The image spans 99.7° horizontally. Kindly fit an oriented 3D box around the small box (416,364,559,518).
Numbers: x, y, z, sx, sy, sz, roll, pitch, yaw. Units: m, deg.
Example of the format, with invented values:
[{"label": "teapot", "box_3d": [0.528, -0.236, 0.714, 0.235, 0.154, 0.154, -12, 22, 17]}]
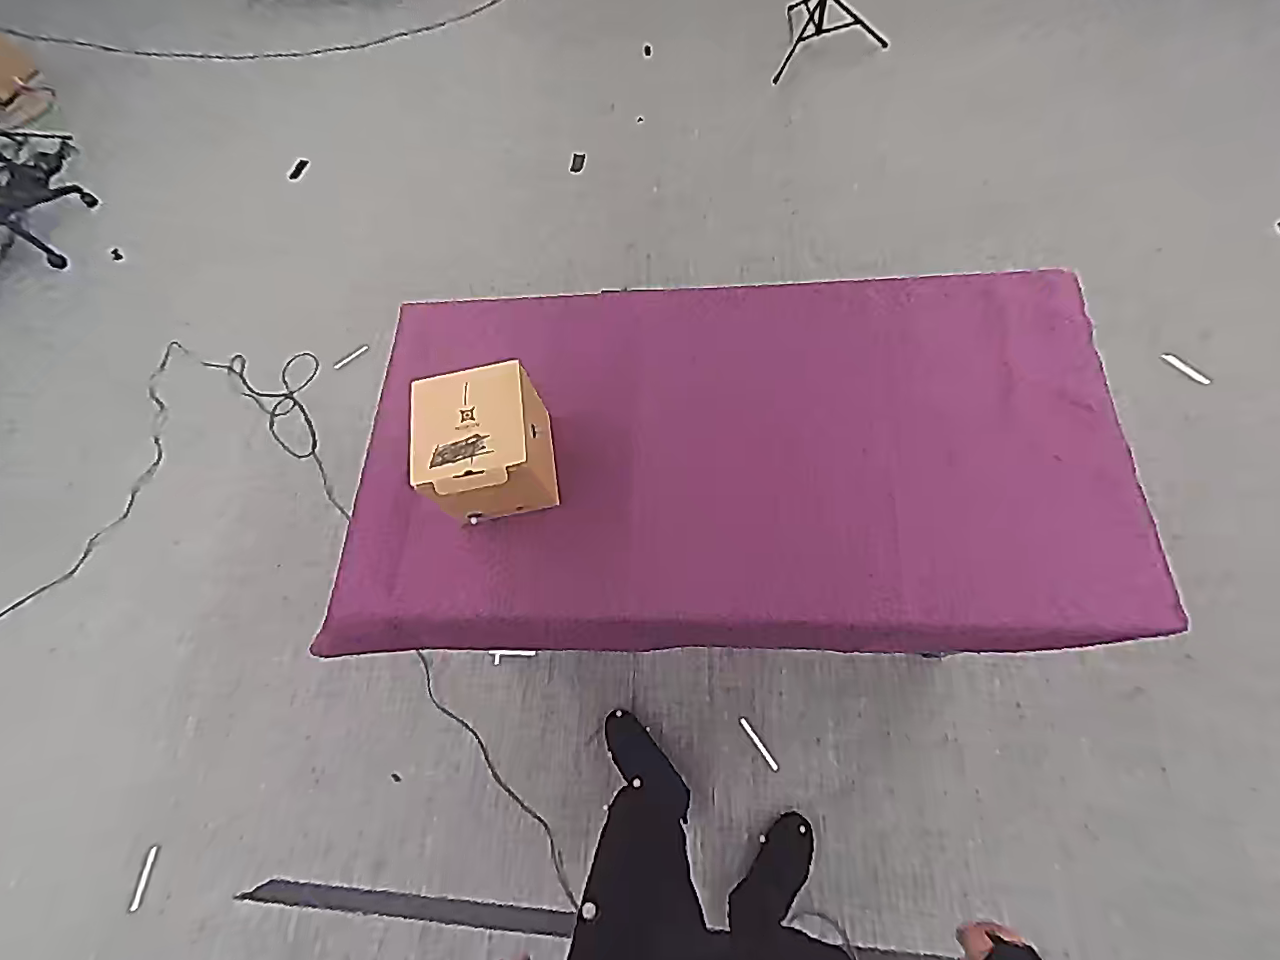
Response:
[{"label": "small box", "box_3d": [-0.230, -0.050, 0.843, 0.168, 0.176, 0.179, -11, 66, 2]}]
